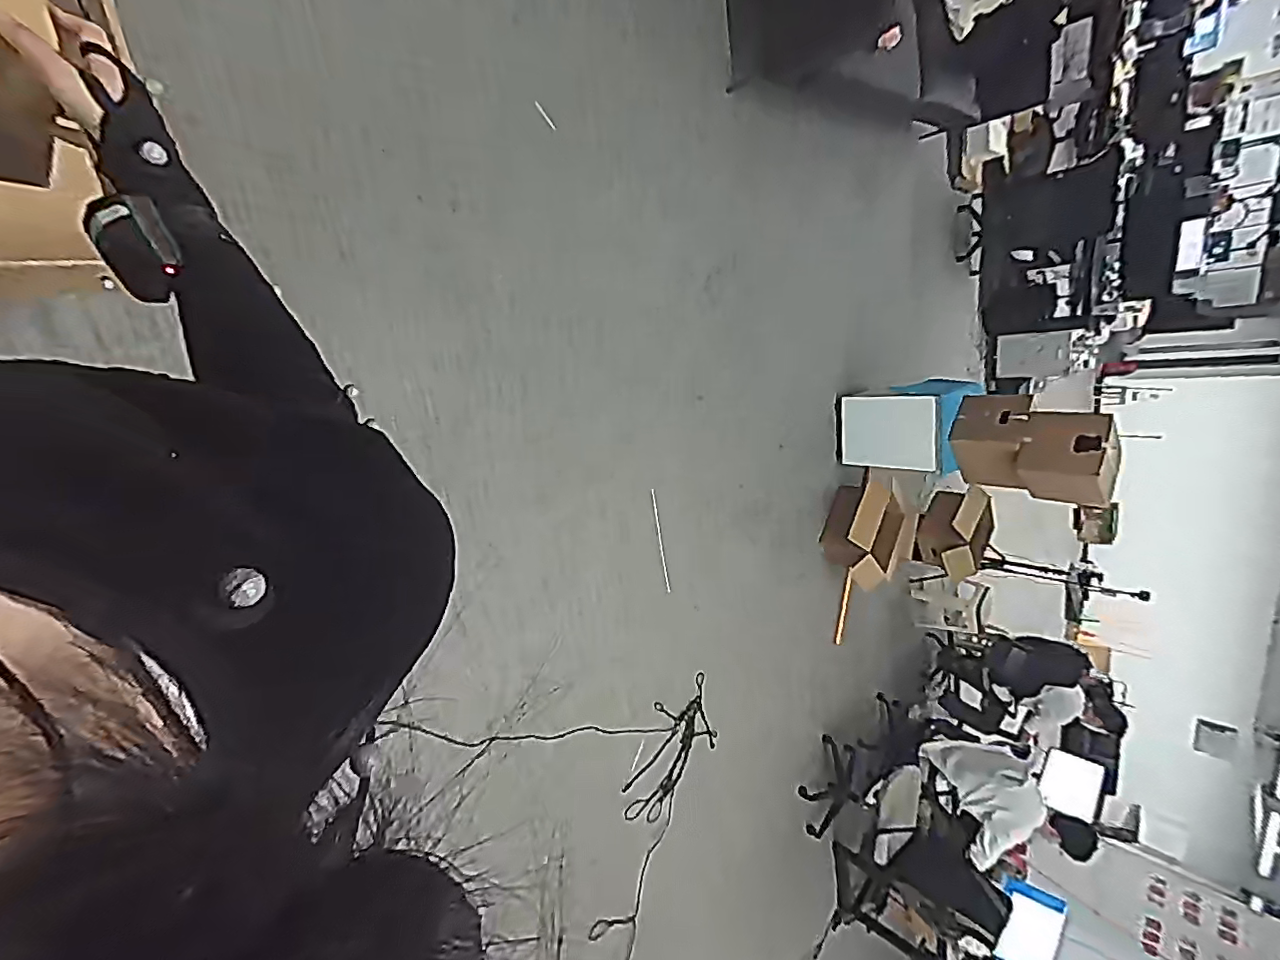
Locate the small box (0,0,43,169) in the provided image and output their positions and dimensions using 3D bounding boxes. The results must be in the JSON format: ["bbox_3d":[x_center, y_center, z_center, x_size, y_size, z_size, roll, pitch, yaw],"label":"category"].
[{"bbox_3d":[-0.566,-0.366,0.386,0.168,0.176,0.179,-15,84,-52],"label":"small box"}]
